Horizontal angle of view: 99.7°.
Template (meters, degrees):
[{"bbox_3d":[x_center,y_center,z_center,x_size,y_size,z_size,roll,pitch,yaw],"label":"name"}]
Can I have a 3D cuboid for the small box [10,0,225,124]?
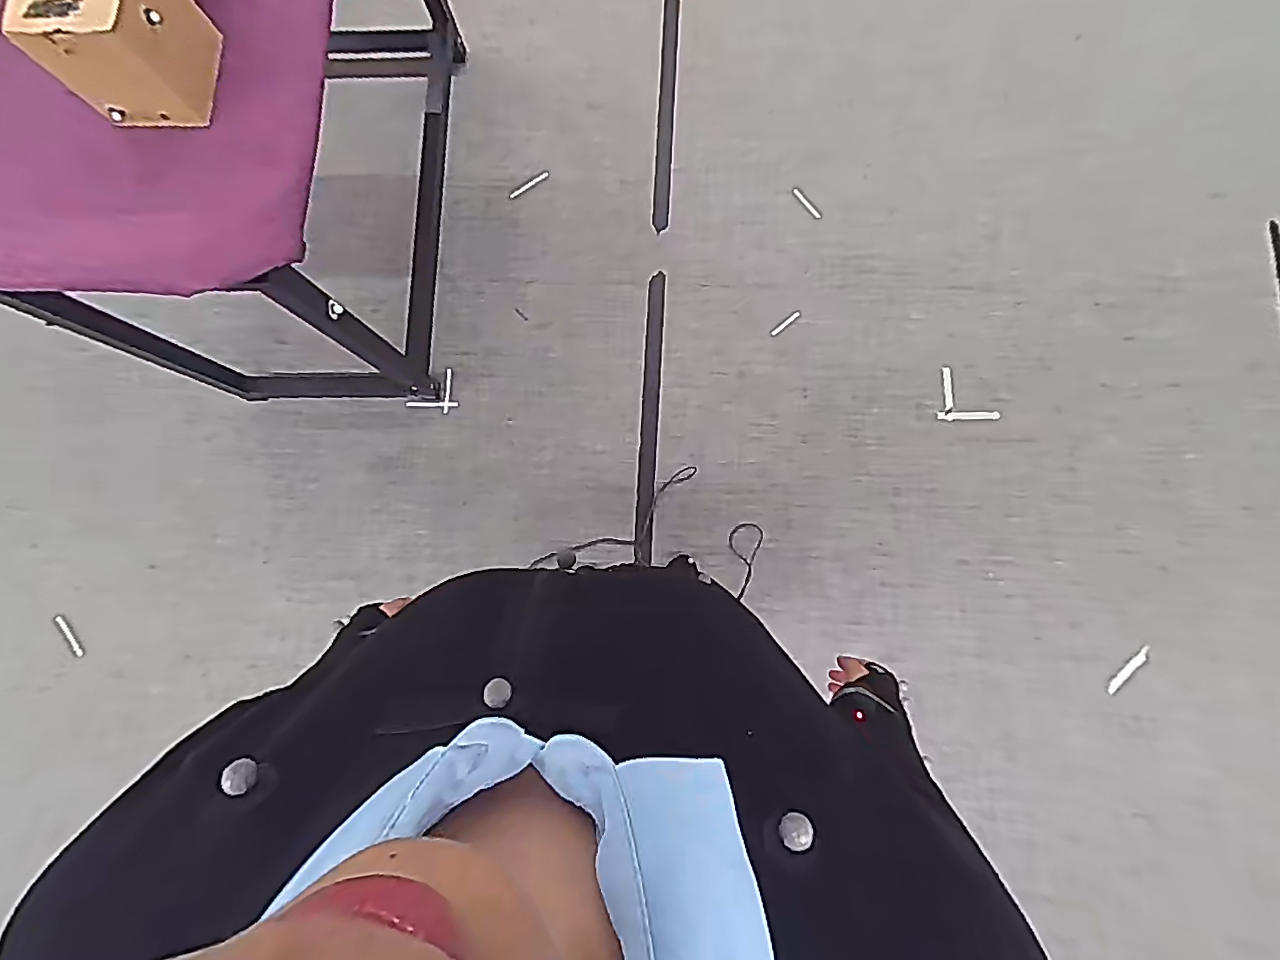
[{"bbox_3d":[-0.801,-0.697,0.849,0.168,0.176,0.179,2,81,1],"label":"small box"}]
